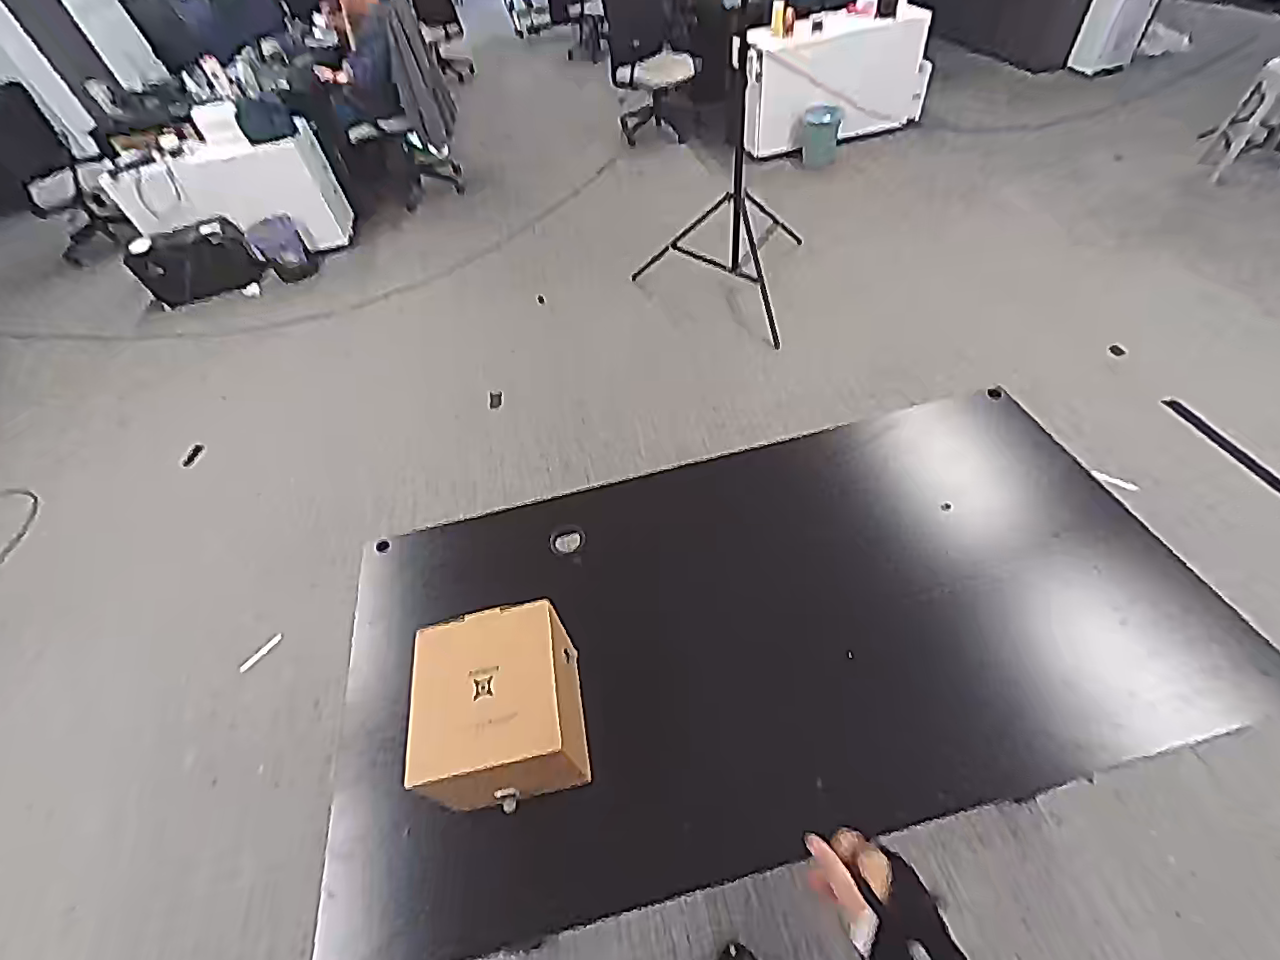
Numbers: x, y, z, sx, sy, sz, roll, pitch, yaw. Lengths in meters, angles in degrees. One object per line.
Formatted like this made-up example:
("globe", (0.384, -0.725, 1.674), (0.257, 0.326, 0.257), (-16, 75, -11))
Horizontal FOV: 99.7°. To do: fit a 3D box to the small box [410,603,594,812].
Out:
("small box", (-0.160, 0.282, 0.665), (0.168, 0.176, 0.179), (-14, 51, -2))
